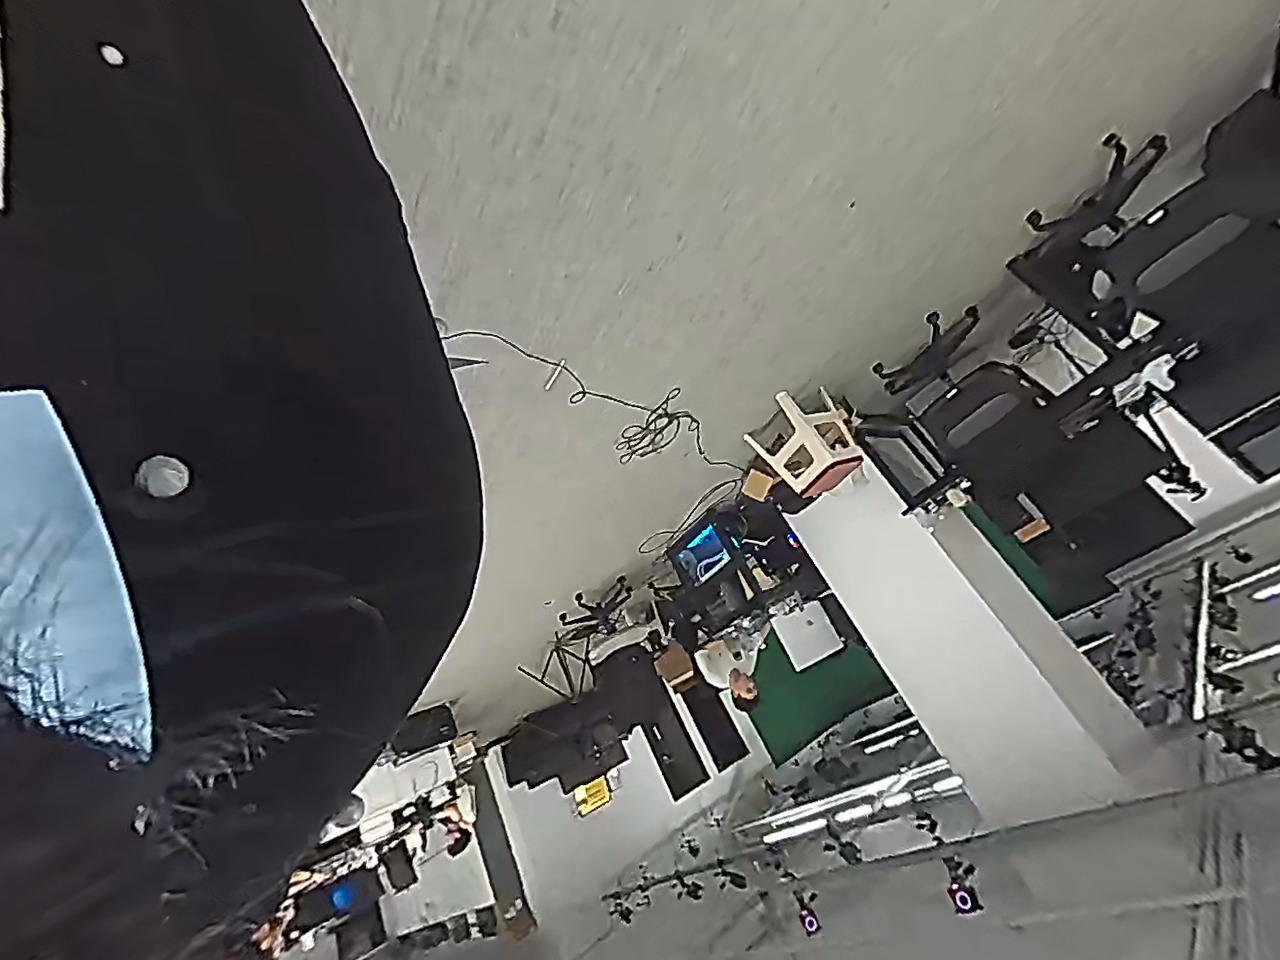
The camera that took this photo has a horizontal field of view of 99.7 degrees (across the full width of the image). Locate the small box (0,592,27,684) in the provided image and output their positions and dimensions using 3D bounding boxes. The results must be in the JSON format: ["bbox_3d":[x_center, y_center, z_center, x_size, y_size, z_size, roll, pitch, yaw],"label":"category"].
[{"bbox_3d":[-1.605,0.390,1.292,0.168,0.176,0.179,-5,146,-43],"label":"small box"}]
